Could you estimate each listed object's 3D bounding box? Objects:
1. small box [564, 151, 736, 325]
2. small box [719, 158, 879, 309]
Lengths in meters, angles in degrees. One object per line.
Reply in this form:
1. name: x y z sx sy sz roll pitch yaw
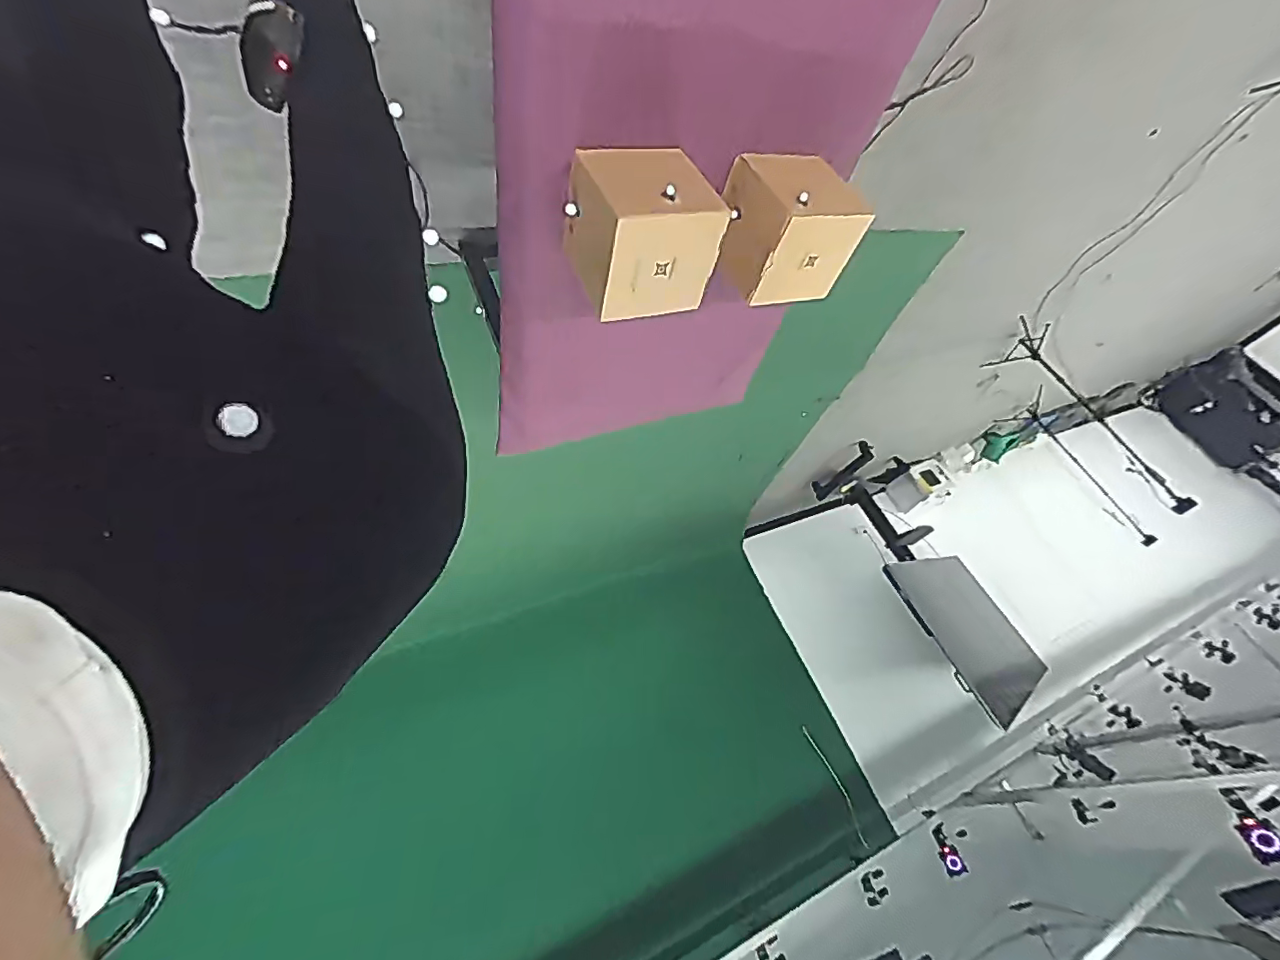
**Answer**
1. small box: 0.005 -0.356 0.793 0.179 0.176 0.168 -14 151 -23
2. small box: 0.249 -0.413 0.907 0.179 0.176 0.168 -12 152 -23
